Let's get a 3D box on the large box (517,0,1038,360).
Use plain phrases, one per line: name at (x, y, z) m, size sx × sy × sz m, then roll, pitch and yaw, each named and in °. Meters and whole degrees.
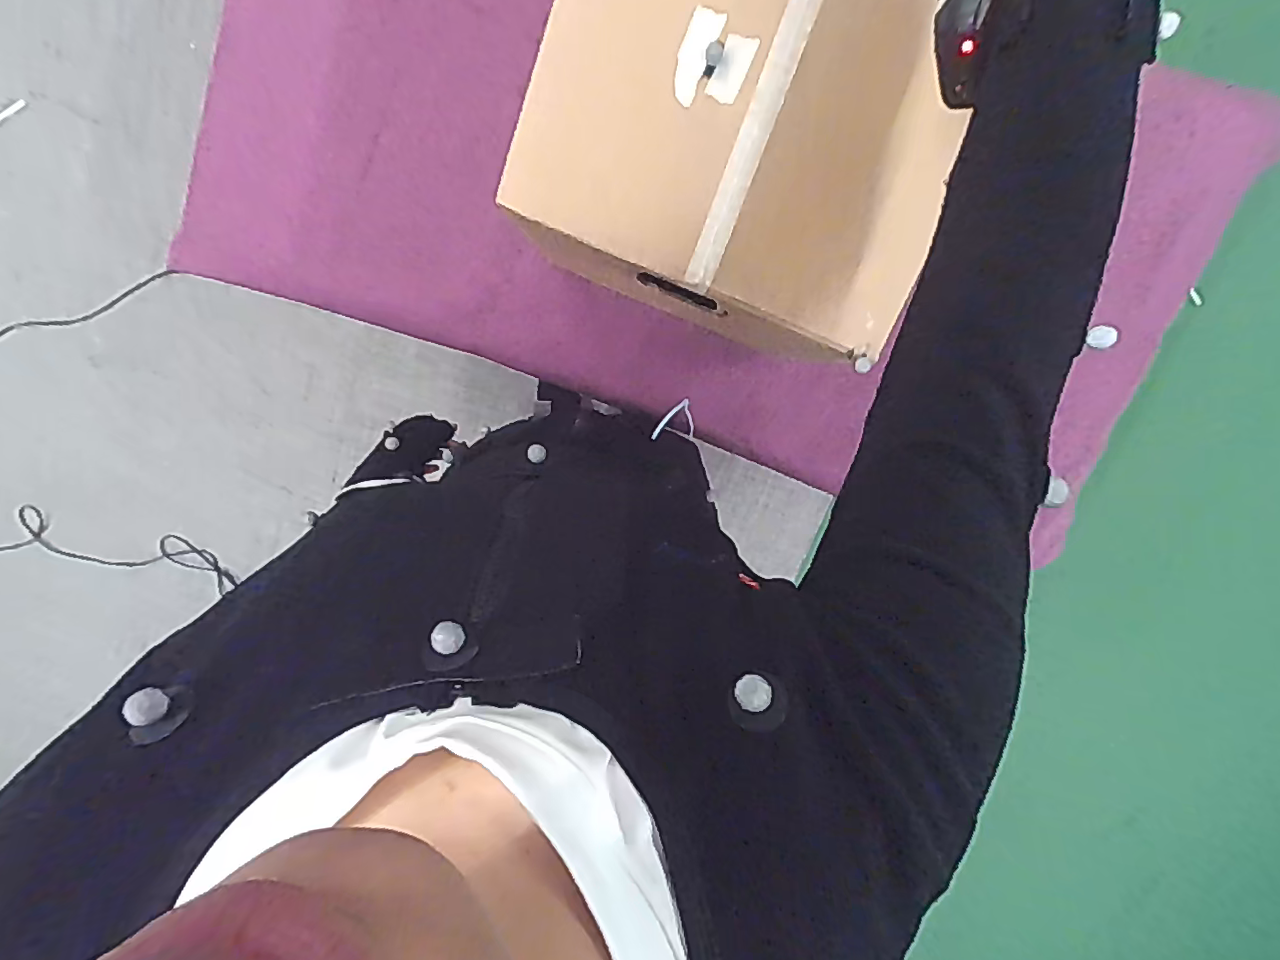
large box at (0.109, -0.369, 0.527) m, size 0.320 × 0.320 × 0.408 m, roll 21°, pitch 103°, yaw -7°
